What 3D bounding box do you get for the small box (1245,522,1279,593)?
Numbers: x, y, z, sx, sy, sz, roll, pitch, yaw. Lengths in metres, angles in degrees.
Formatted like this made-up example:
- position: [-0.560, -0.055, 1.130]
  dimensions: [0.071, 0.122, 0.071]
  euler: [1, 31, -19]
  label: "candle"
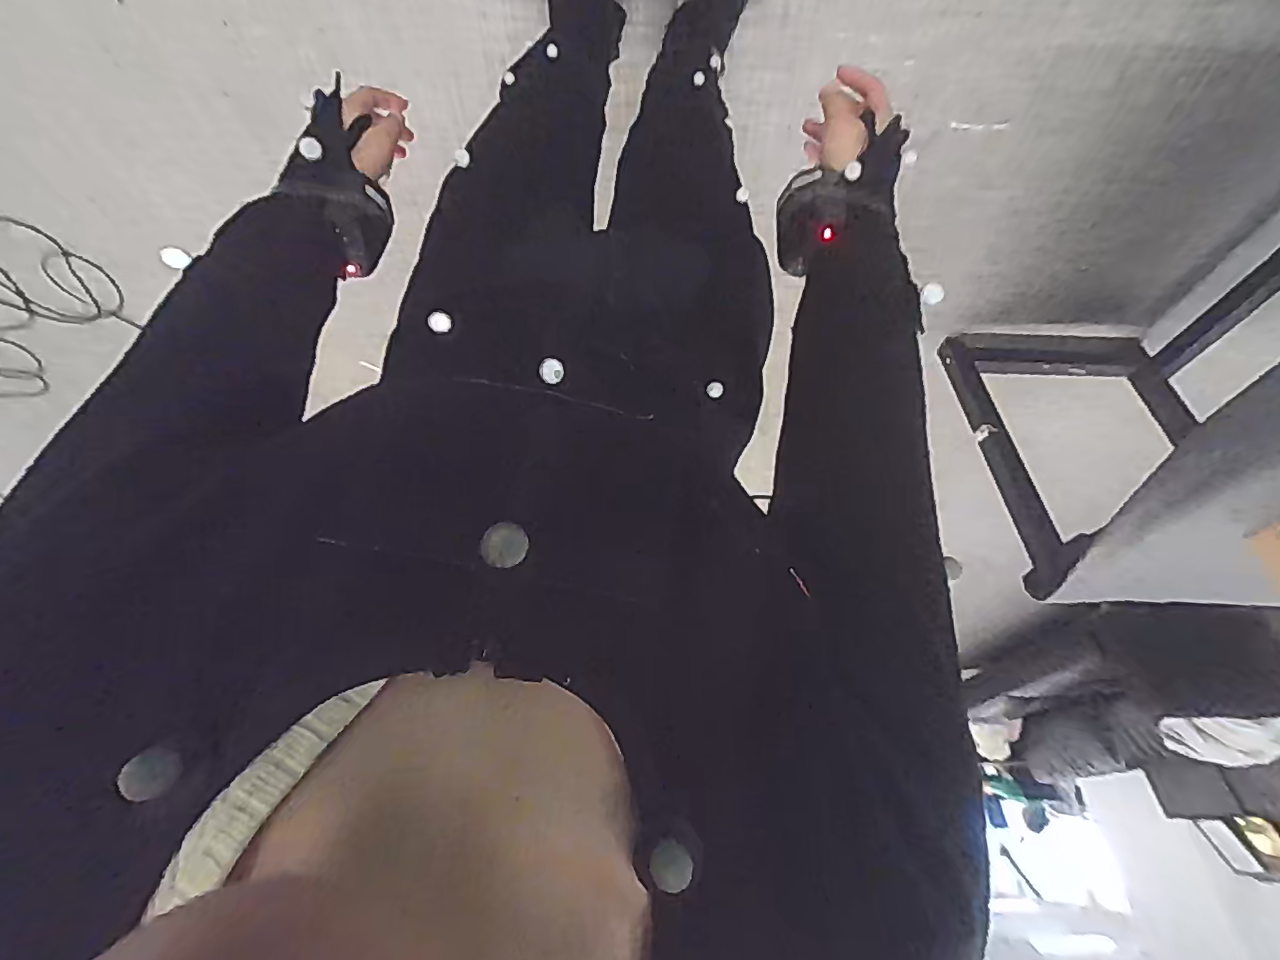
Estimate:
- position: [1.108, 0.127, 0.815]
  dimensions: [0.179, 0.176, 0.168]
  euler: [0, 147, 0]
  label: "small box"
